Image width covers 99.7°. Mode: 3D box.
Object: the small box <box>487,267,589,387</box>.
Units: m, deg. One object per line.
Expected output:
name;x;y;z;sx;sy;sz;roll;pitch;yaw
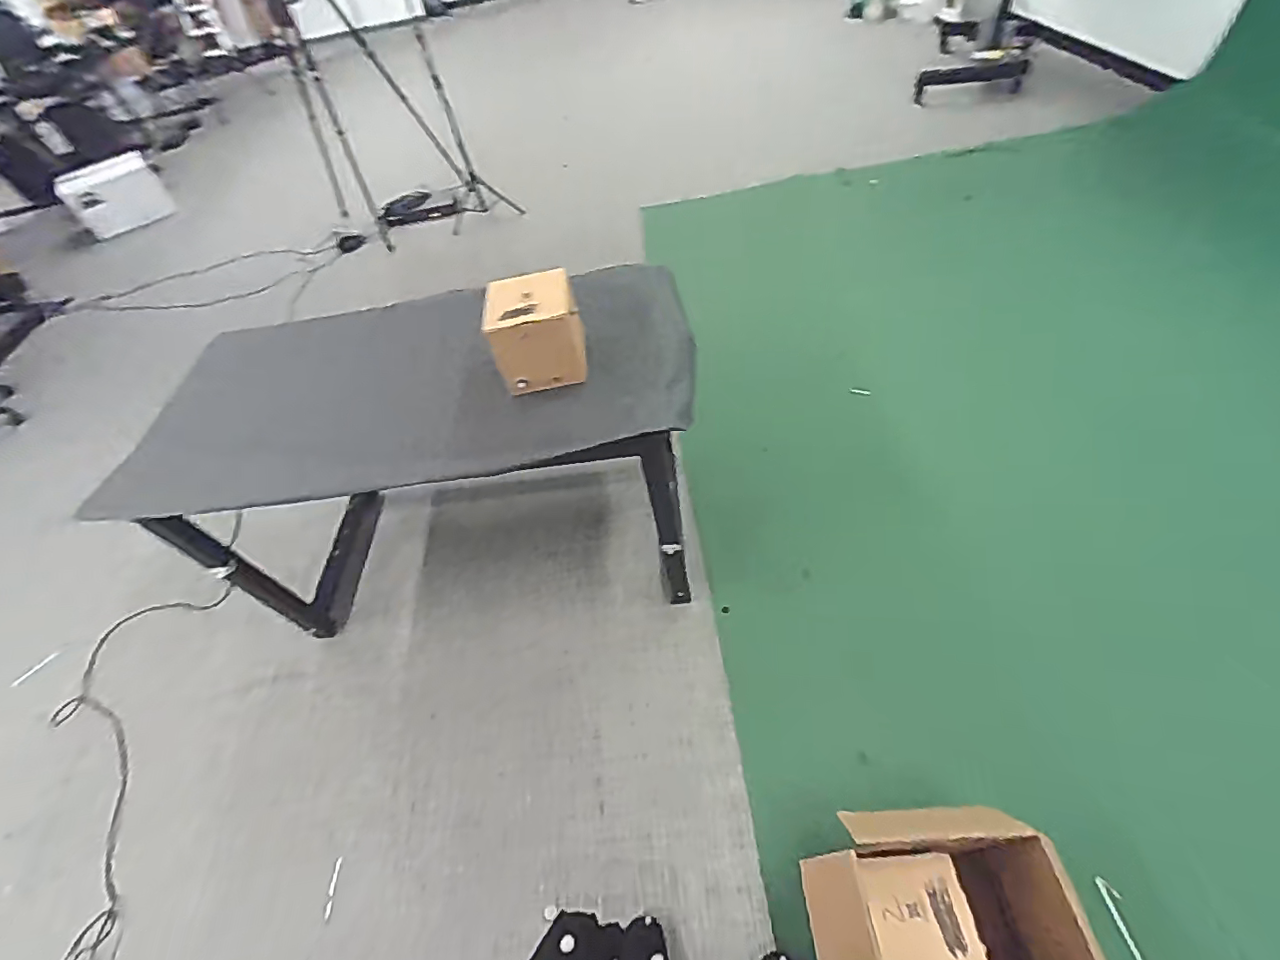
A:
small box;-0.205;-0.310;1.128;0.168;0.176;0.179;-10;50;3
